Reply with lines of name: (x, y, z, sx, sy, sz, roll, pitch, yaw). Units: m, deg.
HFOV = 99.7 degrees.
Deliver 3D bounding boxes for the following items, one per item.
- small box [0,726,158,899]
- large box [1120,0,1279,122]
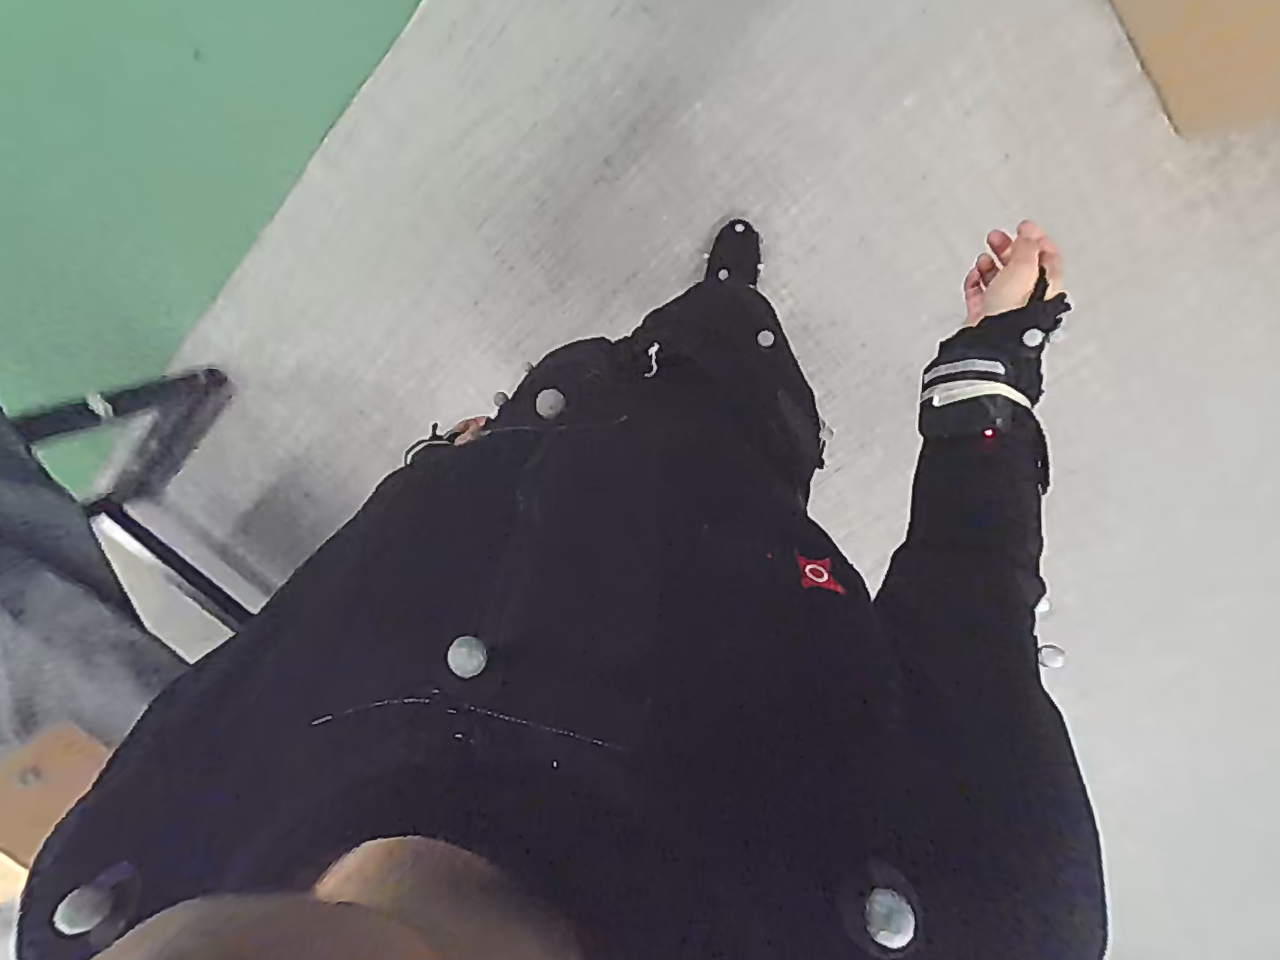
small box: (-0.972, 0.534, 0.888, 0.168, 0.176, 0.179, -30, 108, 20)
large box: (0.971, -0.822, 0.769, 0.320, 0.320, 0.408, -39, 105, 22)
